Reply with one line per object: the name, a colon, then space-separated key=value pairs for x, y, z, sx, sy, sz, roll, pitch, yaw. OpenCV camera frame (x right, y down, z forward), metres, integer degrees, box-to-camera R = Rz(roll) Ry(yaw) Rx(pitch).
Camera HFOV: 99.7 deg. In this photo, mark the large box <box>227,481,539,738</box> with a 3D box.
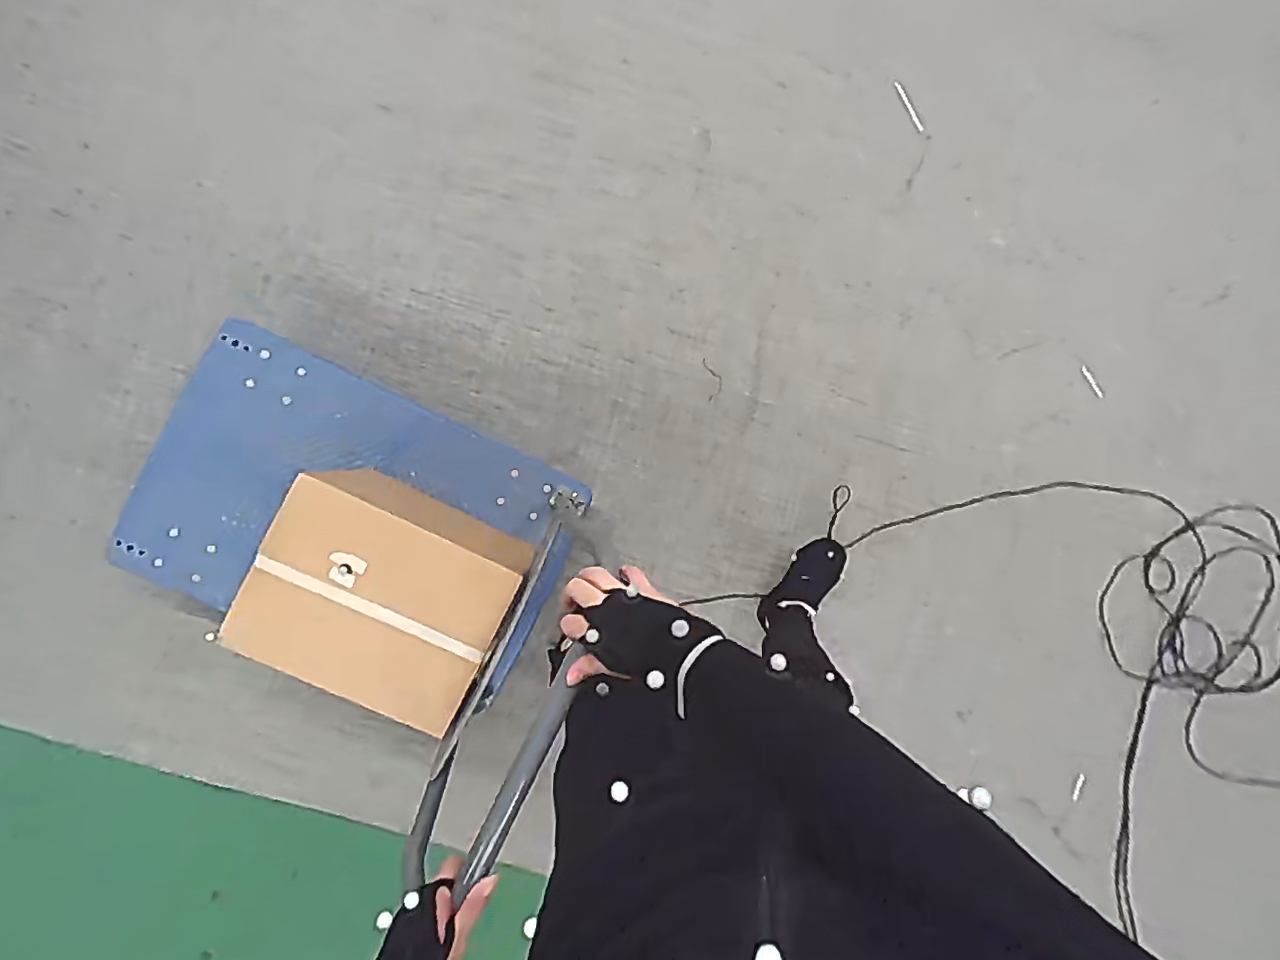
large box: x=-0.451 y=0.224 z=1.057 sx=0.408 sy=0.320 sz=0.320 roll=26 pitch=88 yaw=-6
